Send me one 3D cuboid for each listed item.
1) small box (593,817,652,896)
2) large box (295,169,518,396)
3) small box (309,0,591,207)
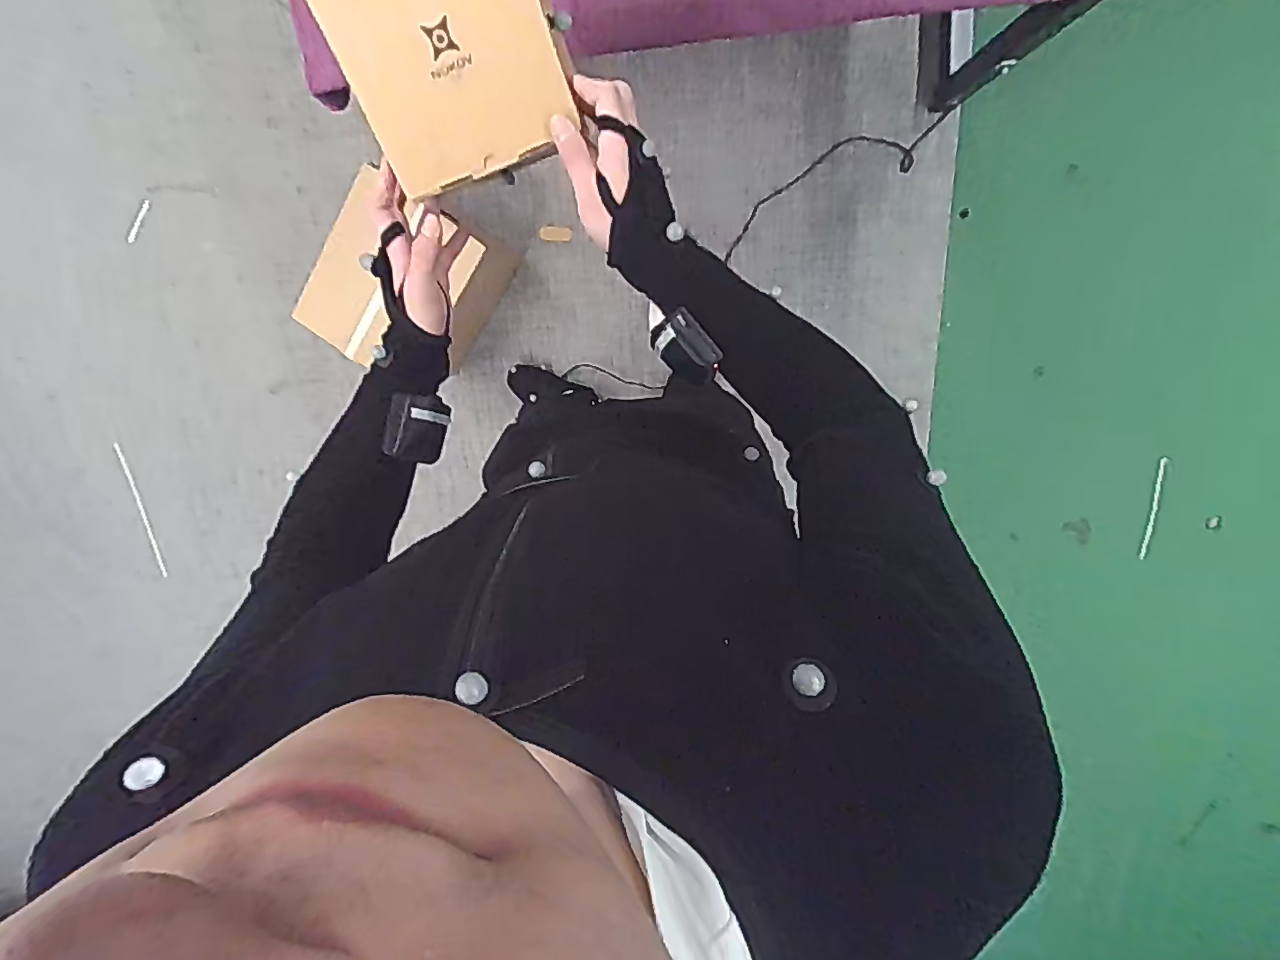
[{"bbox_3d":[-0.057,1.322,1.905,0.179,0.176,0.168,-7,105,5],"label":"small box"},{"bbox_3d":[-0.575,-0.478,1.384,0.320,0.320,0.408,34,105,-8],"label":"large box"},{"bbox_3d":[-0.149,-0.367,0.481,0.168,0.176,0.179,-17,121,8],"label":"small box"}]
